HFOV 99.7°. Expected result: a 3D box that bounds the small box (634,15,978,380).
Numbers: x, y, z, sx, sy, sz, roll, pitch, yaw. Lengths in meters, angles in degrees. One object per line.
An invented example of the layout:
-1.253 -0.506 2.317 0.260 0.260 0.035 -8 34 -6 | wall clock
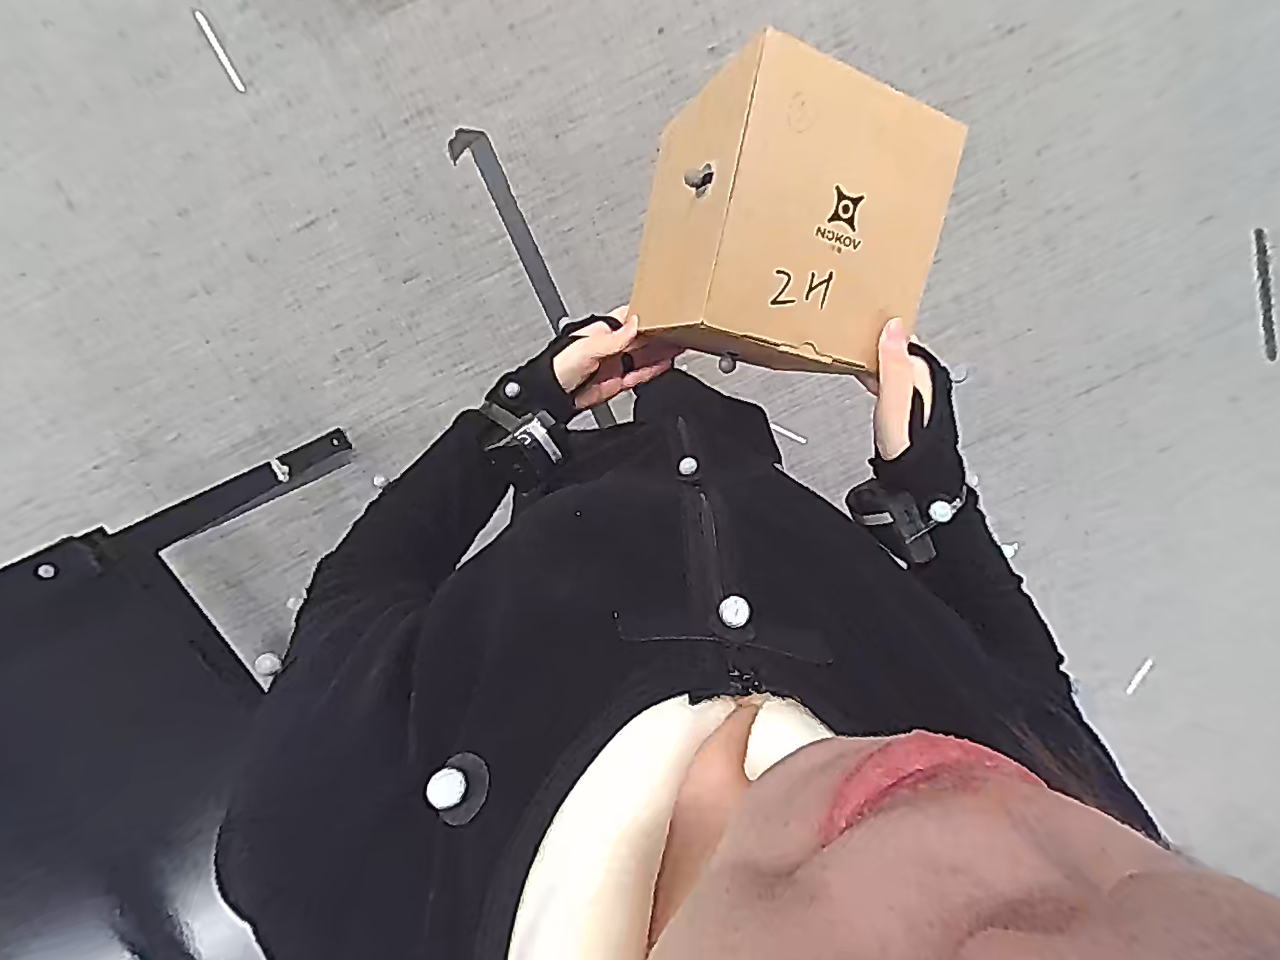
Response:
0.107 -0.184 0.418 0.168 0.176 0.179 9 100 -21 | small box
